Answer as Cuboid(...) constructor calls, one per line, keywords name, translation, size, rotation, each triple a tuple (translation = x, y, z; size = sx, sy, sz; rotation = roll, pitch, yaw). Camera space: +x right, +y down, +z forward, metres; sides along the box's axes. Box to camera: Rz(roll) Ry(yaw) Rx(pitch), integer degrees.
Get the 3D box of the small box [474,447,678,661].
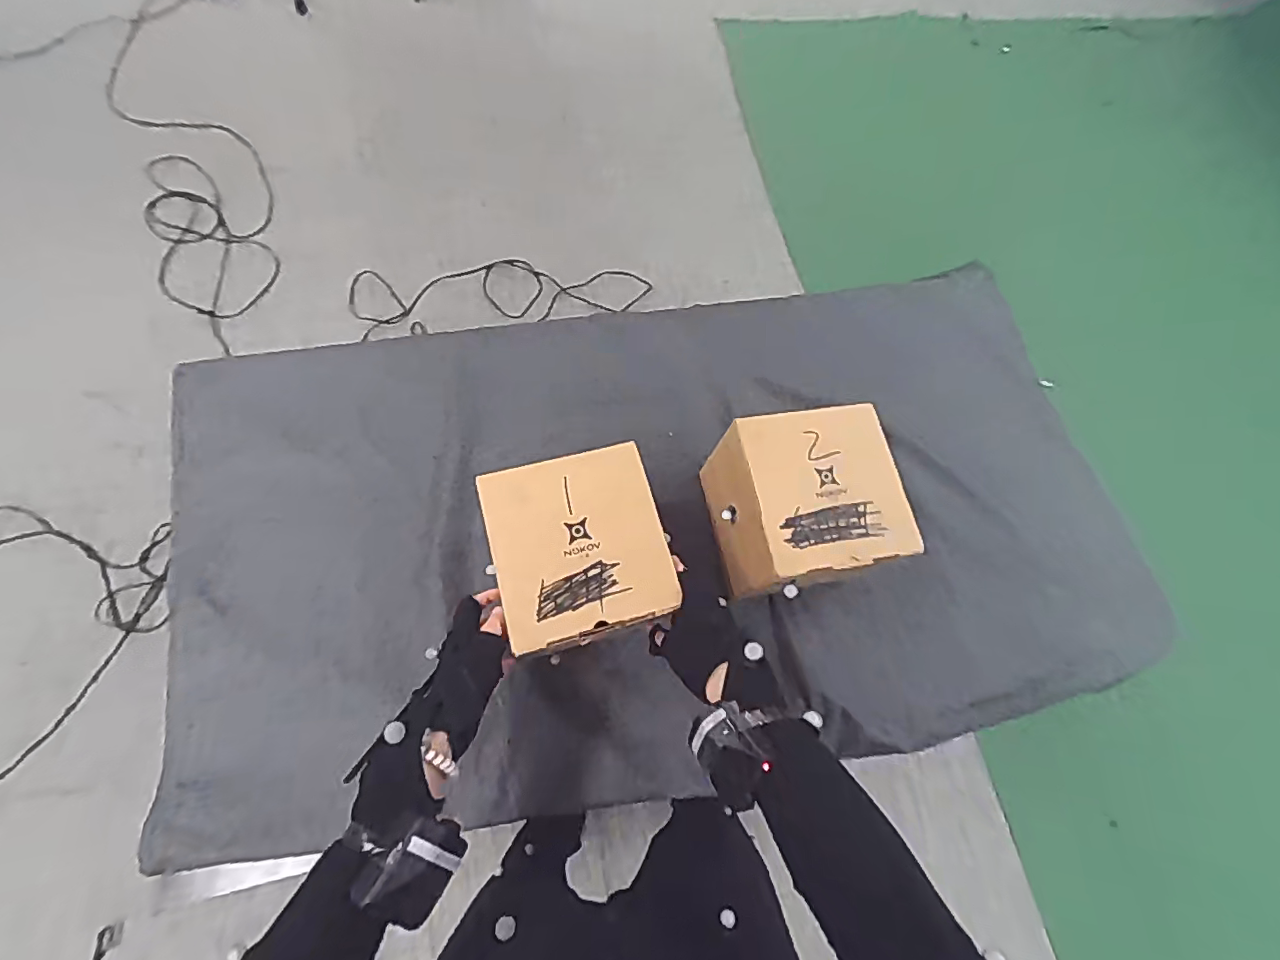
Cuboid(name="small box", translation=(-0.070, 0.089, 0.590), size=(0.168, 0.176, 0.179), rotation=(-13, 72, -12))
